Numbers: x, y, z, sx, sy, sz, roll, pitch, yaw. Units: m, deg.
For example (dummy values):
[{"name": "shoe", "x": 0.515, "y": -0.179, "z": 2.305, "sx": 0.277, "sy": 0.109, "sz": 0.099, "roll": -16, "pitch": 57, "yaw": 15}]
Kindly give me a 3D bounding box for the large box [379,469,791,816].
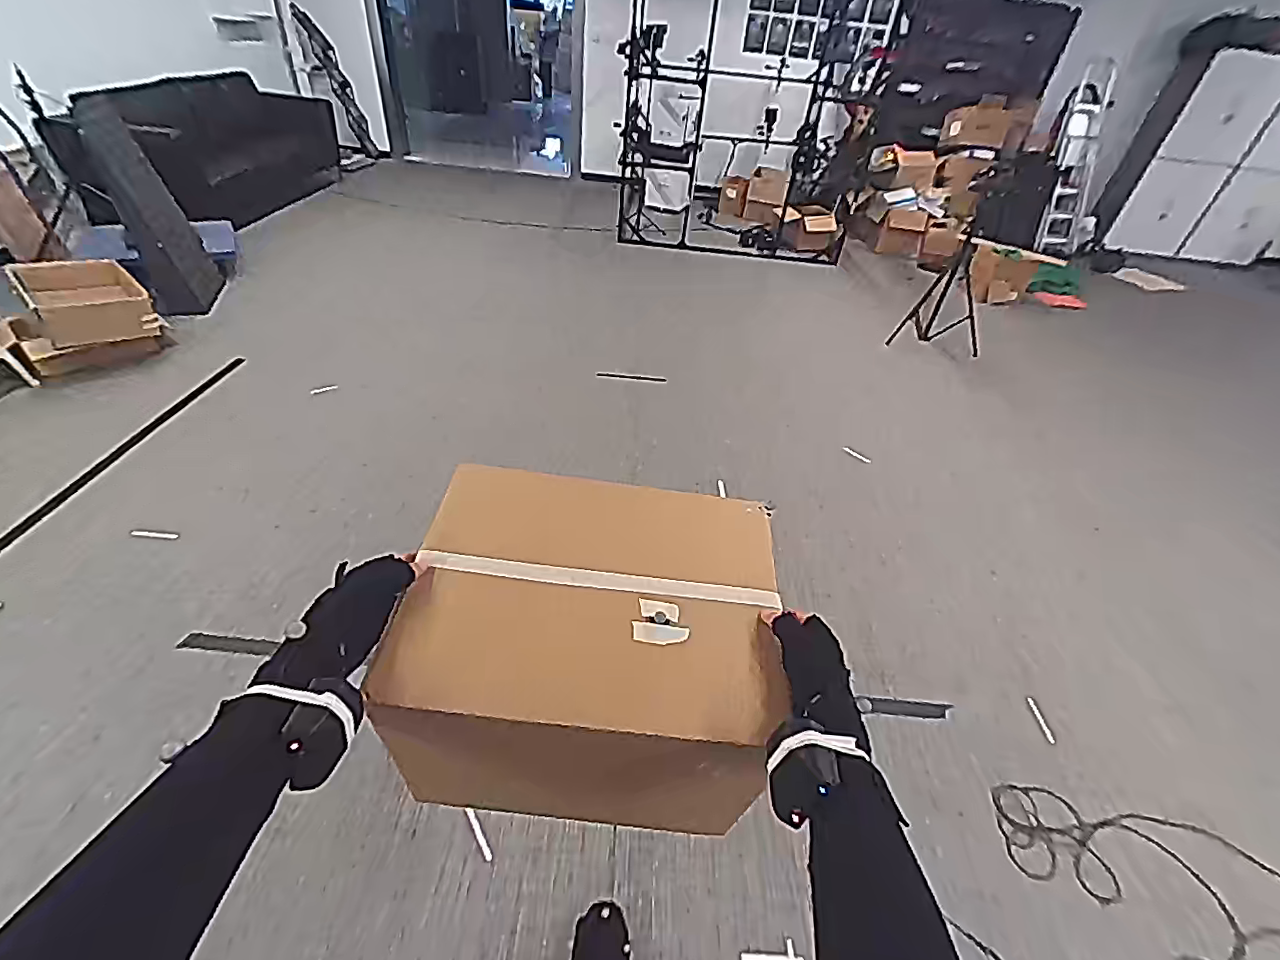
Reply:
[{"name": "large box", "x": -0.061, "y": 0.219, "z": 0.719, "sx": 0.408, "sy": 0.320, "sz": 0.320, "roll": 8, "pitch": 45, "yaw": -3}]
